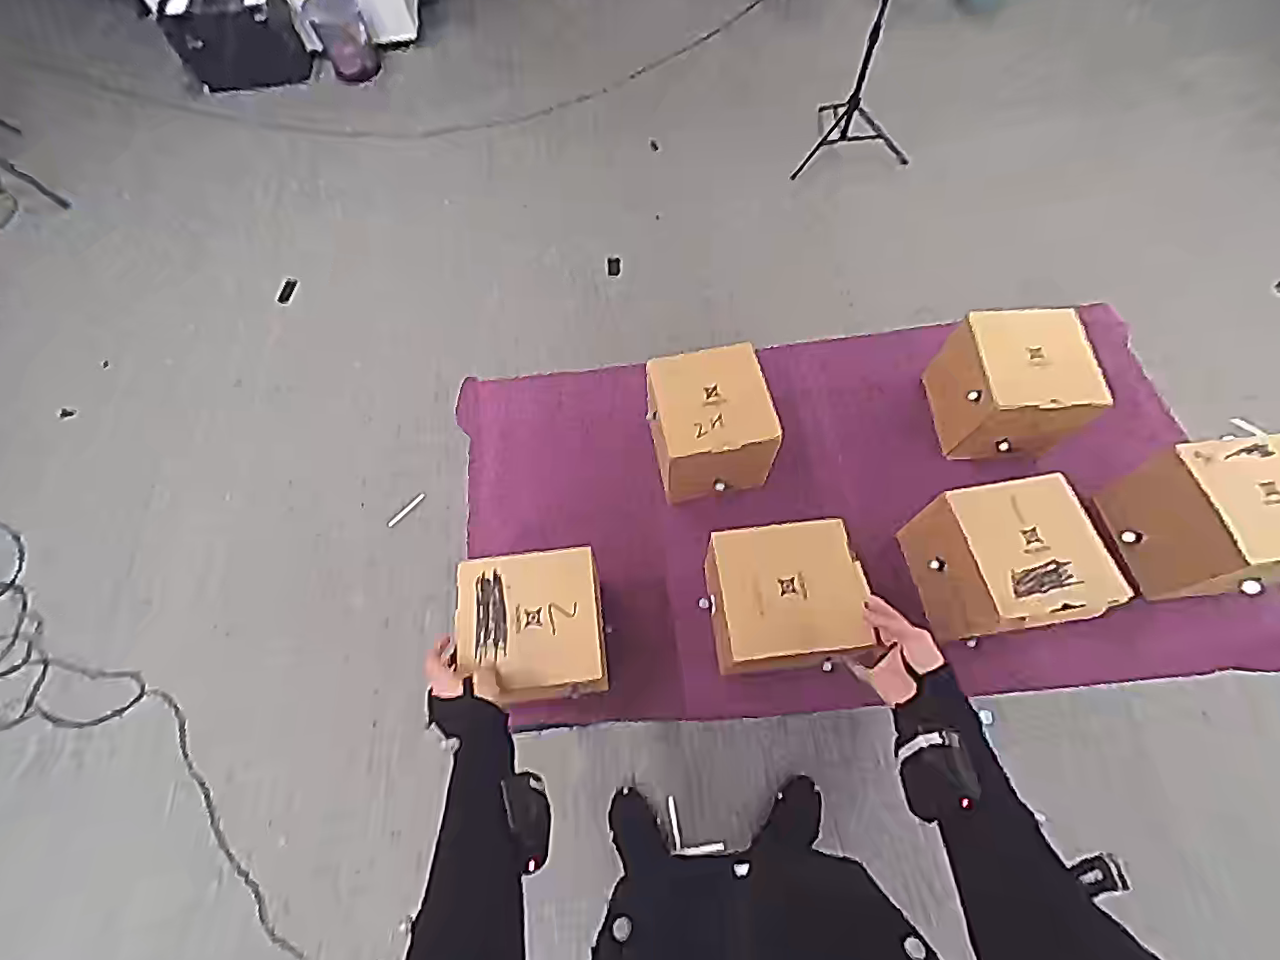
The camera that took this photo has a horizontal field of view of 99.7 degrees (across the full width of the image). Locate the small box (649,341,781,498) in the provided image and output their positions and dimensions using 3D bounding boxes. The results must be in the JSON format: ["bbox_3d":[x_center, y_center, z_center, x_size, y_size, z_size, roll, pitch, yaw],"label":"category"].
[{"bbox_3d":[0.109,-0.092,0.870,0.168,0.176,0.179,-11,65,-2],"label":"small box"}]

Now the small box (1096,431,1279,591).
[{"bbox_3d":[0.814,0.052,0.764,0.168,0.176,0.179,-5,63,1],"label":"small box"}]

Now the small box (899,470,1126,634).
[{"bbox_3d":[0.497,0.109,0.754,0.168,0.176,0.179,-9,64,-2],"label":"small box"}]

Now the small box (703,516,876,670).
[{"bbox_3d":[0.190,0.161,0.745,0.179,0.176,0.168,-6,64,-1],"label":"small box"}]

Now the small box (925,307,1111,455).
[{"bbox_3d":[0.592,-0.155,0.878,0.168,0.176,0.179,-2,66,2],"label":"small box"}]
